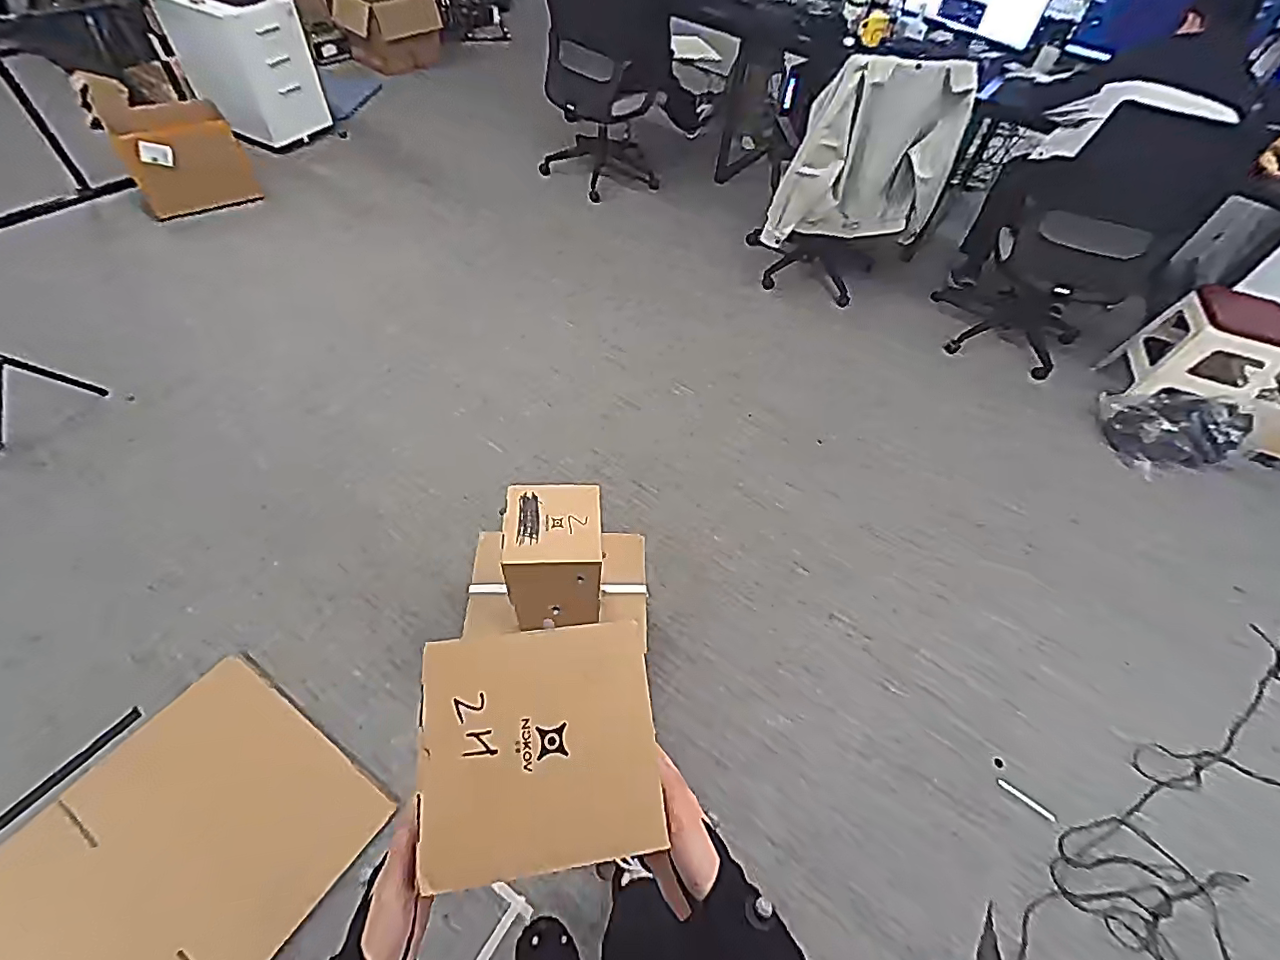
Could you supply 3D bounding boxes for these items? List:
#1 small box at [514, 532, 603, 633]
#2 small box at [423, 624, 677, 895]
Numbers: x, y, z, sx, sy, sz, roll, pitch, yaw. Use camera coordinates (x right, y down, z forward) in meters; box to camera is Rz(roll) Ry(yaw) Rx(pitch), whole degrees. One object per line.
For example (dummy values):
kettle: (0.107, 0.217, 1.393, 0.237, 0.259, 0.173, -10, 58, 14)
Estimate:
small box: (-0.172, 0.226, 1.173, 0.179, 0.176, 0.168, 0, 54, -8)
small box: (-0.079, 0.231, 0.475, 0.179, 0.176, 0.168, -4, 64, -10)
